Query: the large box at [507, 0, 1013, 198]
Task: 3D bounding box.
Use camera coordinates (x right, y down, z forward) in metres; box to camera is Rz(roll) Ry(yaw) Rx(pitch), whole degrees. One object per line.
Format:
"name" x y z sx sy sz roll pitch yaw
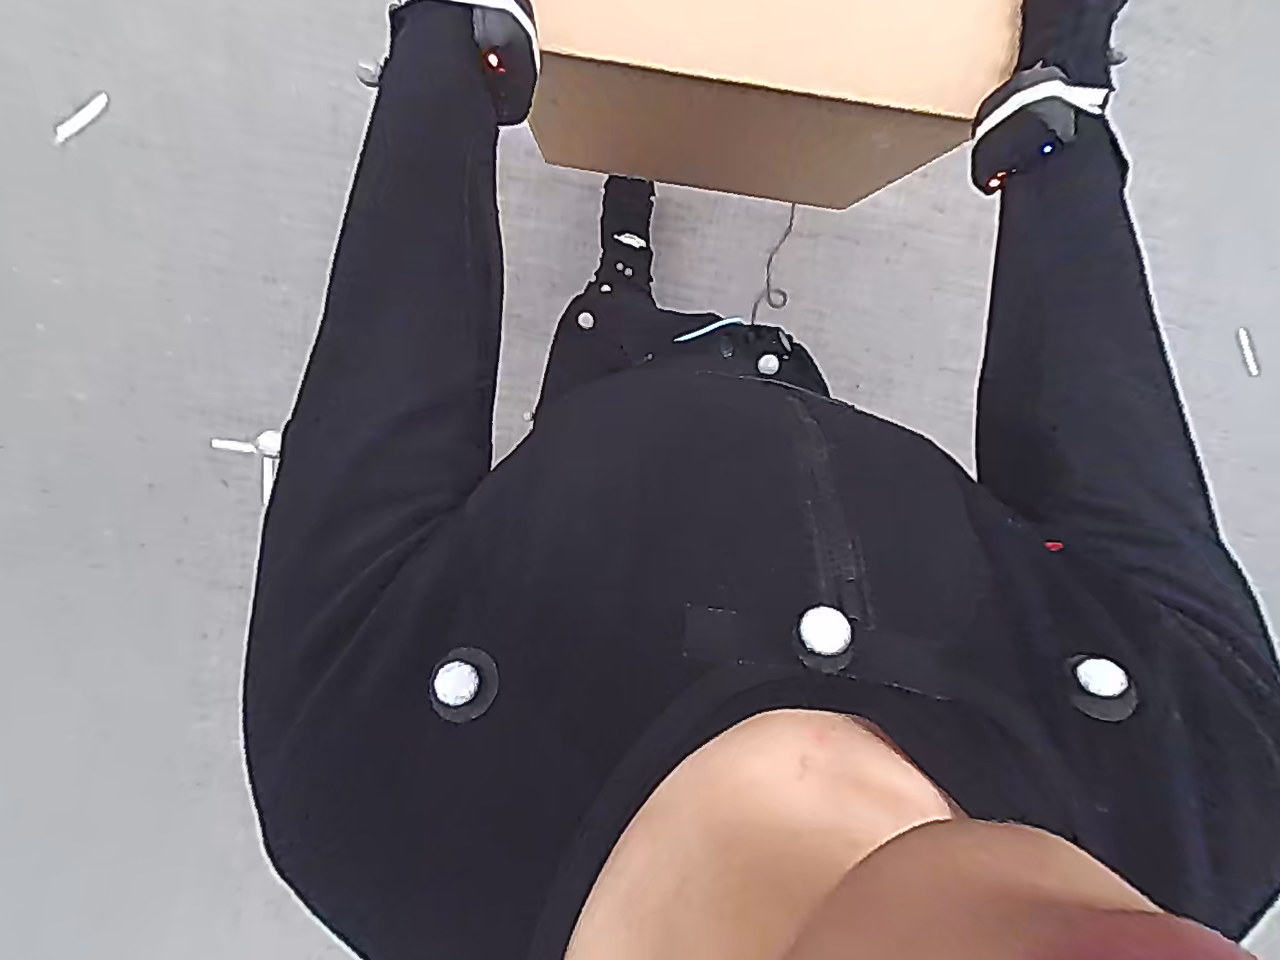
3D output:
"large box" 0.099 -0.506 0.539 0.408 0.320 0.320 6 105 -5
